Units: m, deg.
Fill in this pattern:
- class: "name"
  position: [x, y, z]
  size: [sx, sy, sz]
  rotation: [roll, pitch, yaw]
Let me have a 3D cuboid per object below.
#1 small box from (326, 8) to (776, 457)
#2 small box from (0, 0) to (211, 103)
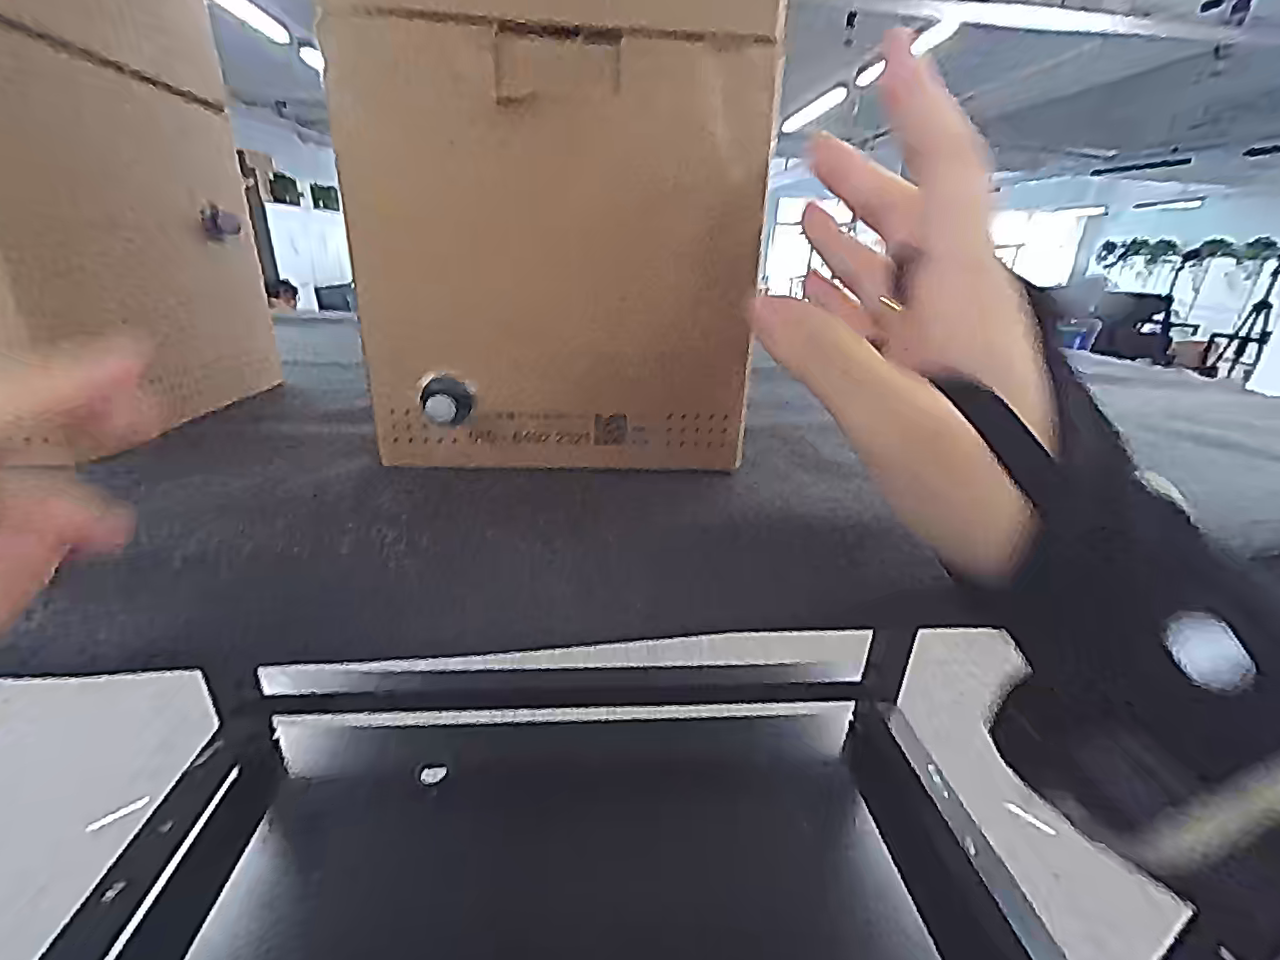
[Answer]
- class: "small box"
  position: [-0.036, -0.116, 0.298]
  size: [0.168, 0.176, 0.179]
  rotation: [1, 21, -5]
- class: "small box"
  position: [-0.315, -0.265, 0.208]
  size: [0.168, 0.176, 0.179]
  rotation: [0, 21, -5]
